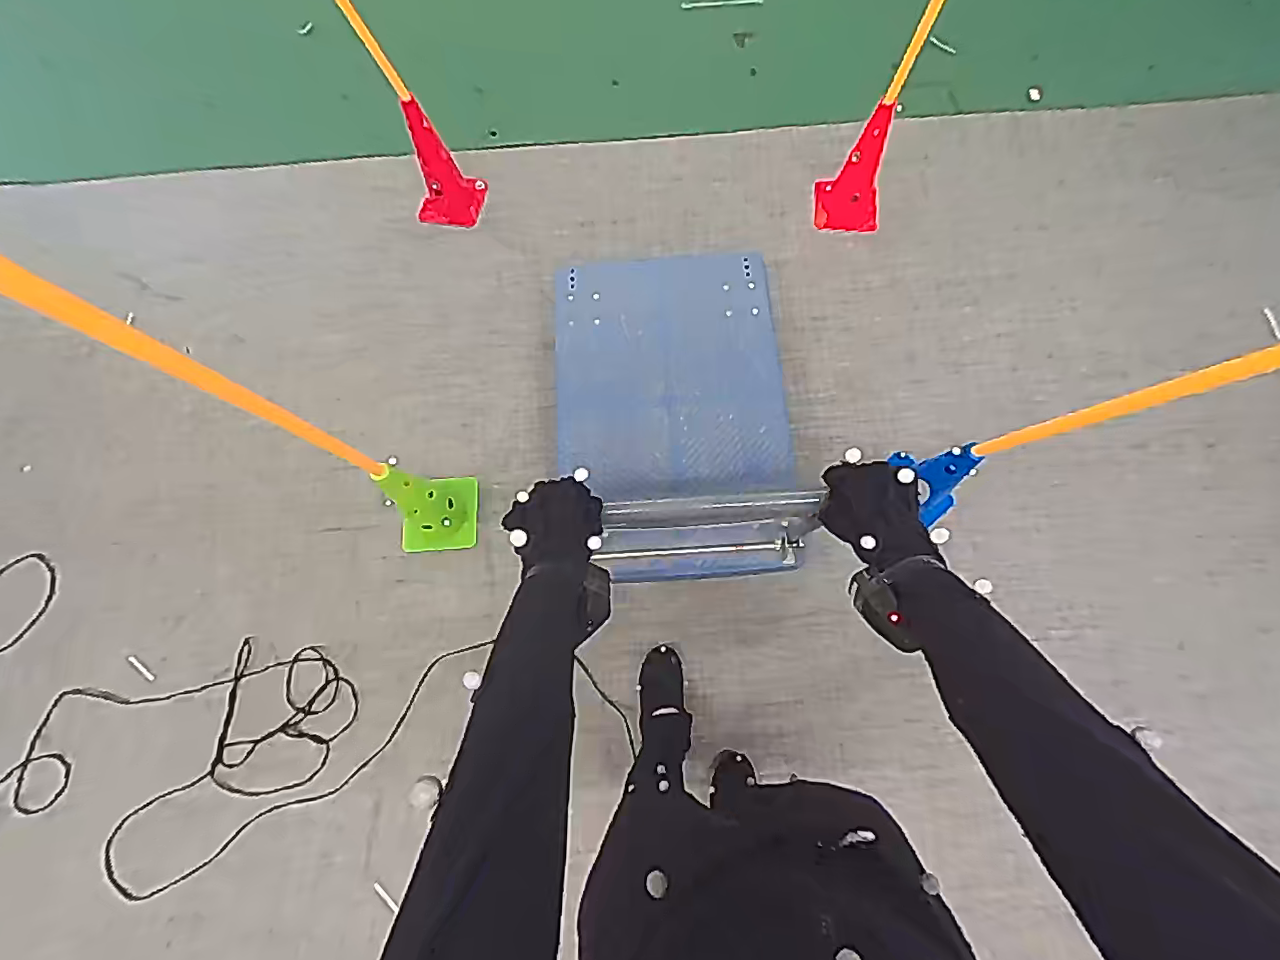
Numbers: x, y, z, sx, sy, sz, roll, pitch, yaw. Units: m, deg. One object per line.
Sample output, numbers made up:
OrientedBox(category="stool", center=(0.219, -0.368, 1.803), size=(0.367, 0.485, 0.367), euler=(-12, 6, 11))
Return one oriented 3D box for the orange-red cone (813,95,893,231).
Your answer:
OrientedBox(category="orange-red cone", center=(0.654, -0.937, 1.579), size=(0.198, 0.360, 0.199), euler=(7, 73, 5))
